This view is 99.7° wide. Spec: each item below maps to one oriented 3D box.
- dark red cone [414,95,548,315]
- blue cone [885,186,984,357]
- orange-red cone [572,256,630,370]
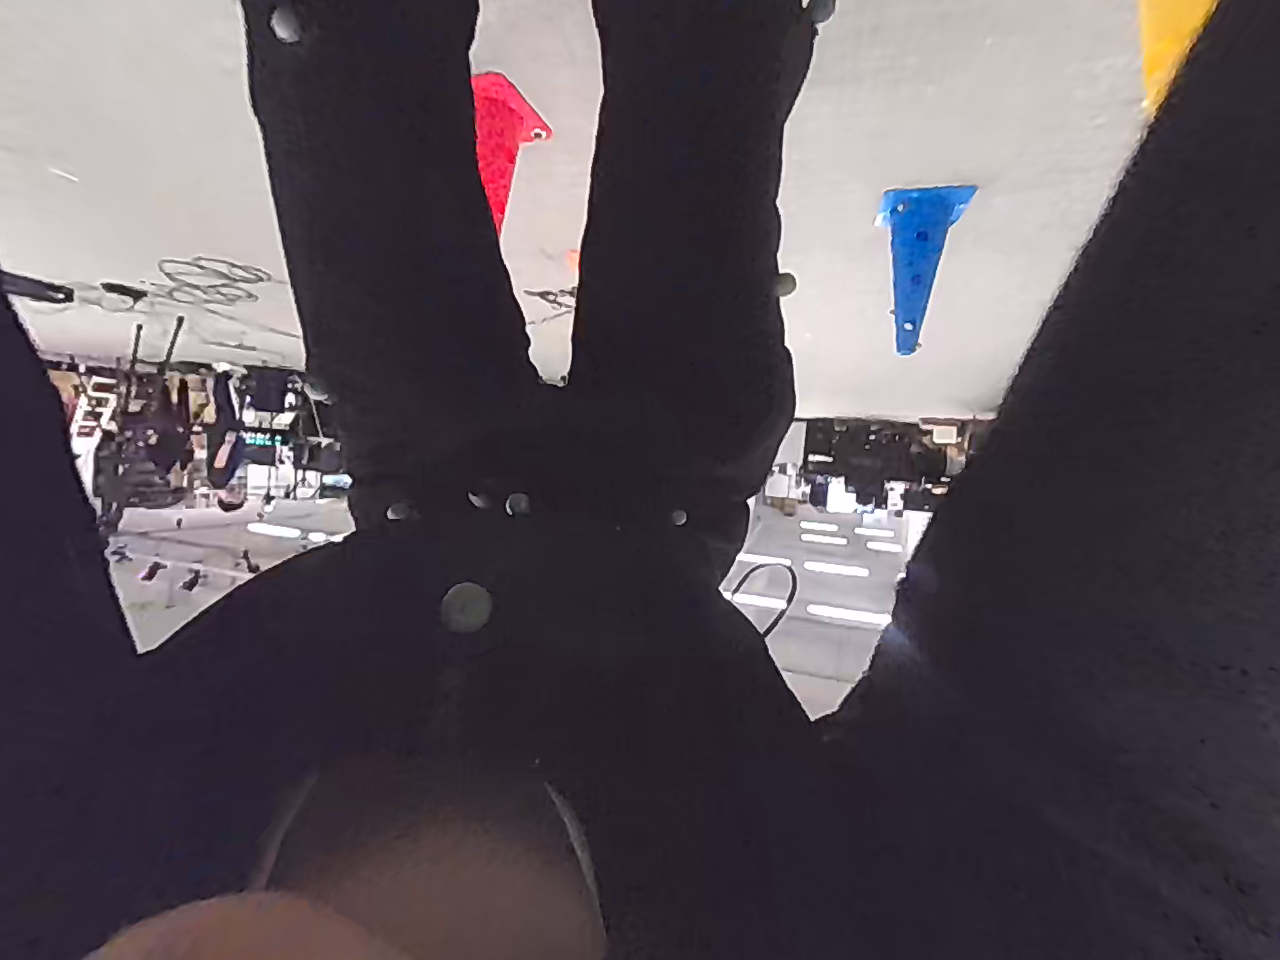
[{"bbox_3d":[-0.328,-0.527,1.074,0.202,0.394,0.201,6,180,23],"label":"dark red cone"},{"bbox_3d":[0.685,-0.489,1.302,0.192,0.380,0.193,5,-177,16],"label":"blue cone"},{"bbox_3d":[-0.154,-0.565,1.891,0.199,0.360,0.198,6,-179,-4],"label":"orange-red cone"}]
